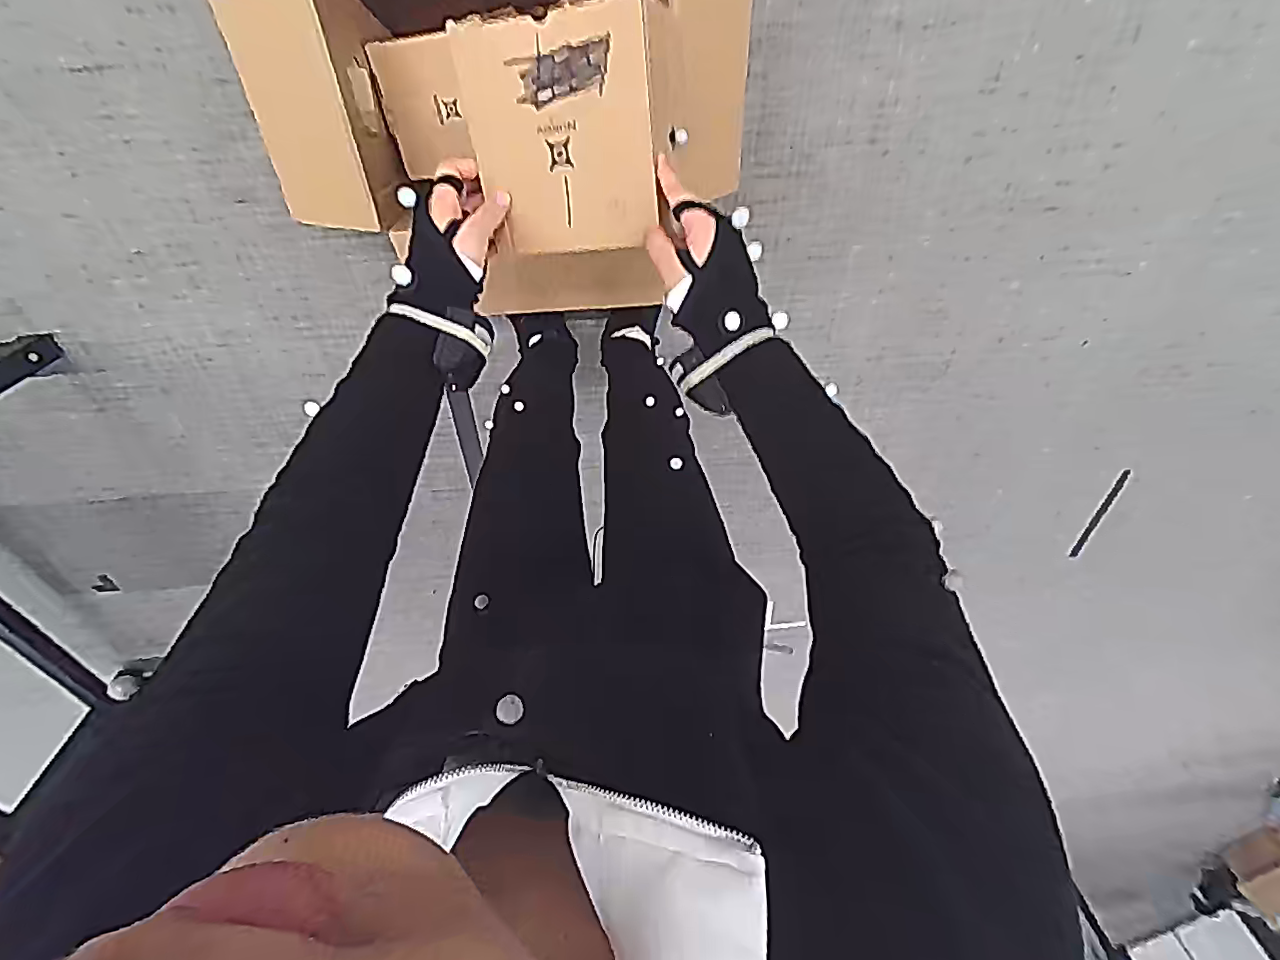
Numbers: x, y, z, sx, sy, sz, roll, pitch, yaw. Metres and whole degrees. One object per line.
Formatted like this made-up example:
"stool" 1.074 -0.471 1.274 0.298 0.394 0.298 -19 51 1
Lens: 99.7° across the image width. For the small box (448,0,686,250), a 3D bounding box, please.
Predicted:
"small box" -0.052 -0.336 0.526 0.168 0.176 0.179 3 124 15
